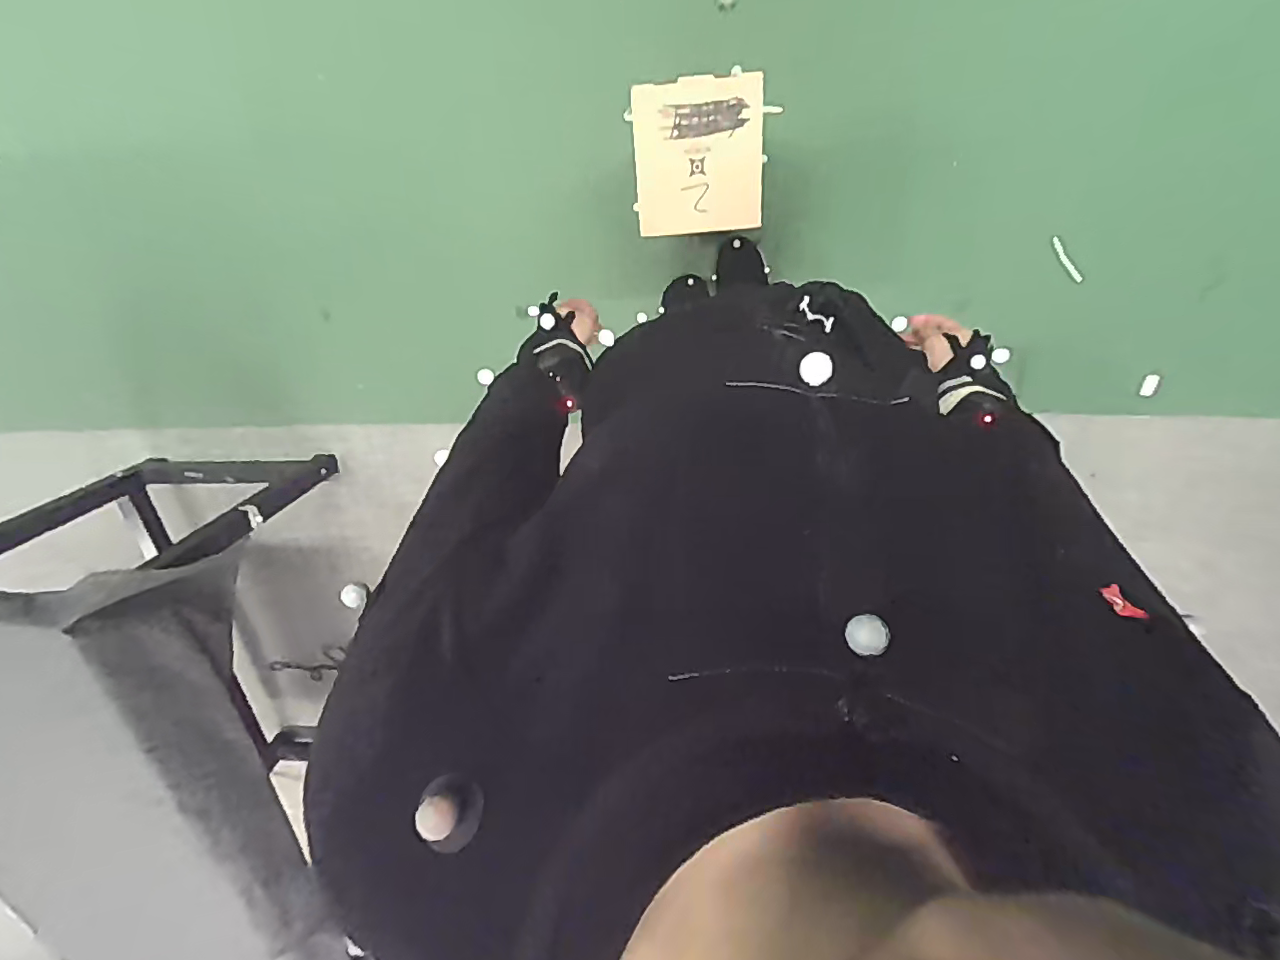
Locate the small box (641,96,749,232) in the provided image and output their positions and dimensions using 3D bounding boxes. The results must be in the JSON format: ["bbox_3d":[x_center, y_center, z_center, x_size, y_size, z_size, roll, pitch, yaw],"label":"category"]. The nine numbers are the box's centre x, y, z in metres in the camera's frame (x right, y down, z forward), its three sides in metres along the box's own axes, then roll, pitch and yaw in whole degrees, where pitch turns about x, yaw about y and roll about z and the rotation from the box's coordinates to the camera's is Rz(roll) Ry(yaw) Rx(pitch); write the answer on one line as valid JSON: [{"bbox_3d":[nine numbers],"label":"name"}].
[{"bbox_3d":[0.095,-0.524,0.918,0.168,0.176,0.179,-2,114,7],"label":"small box"}]
